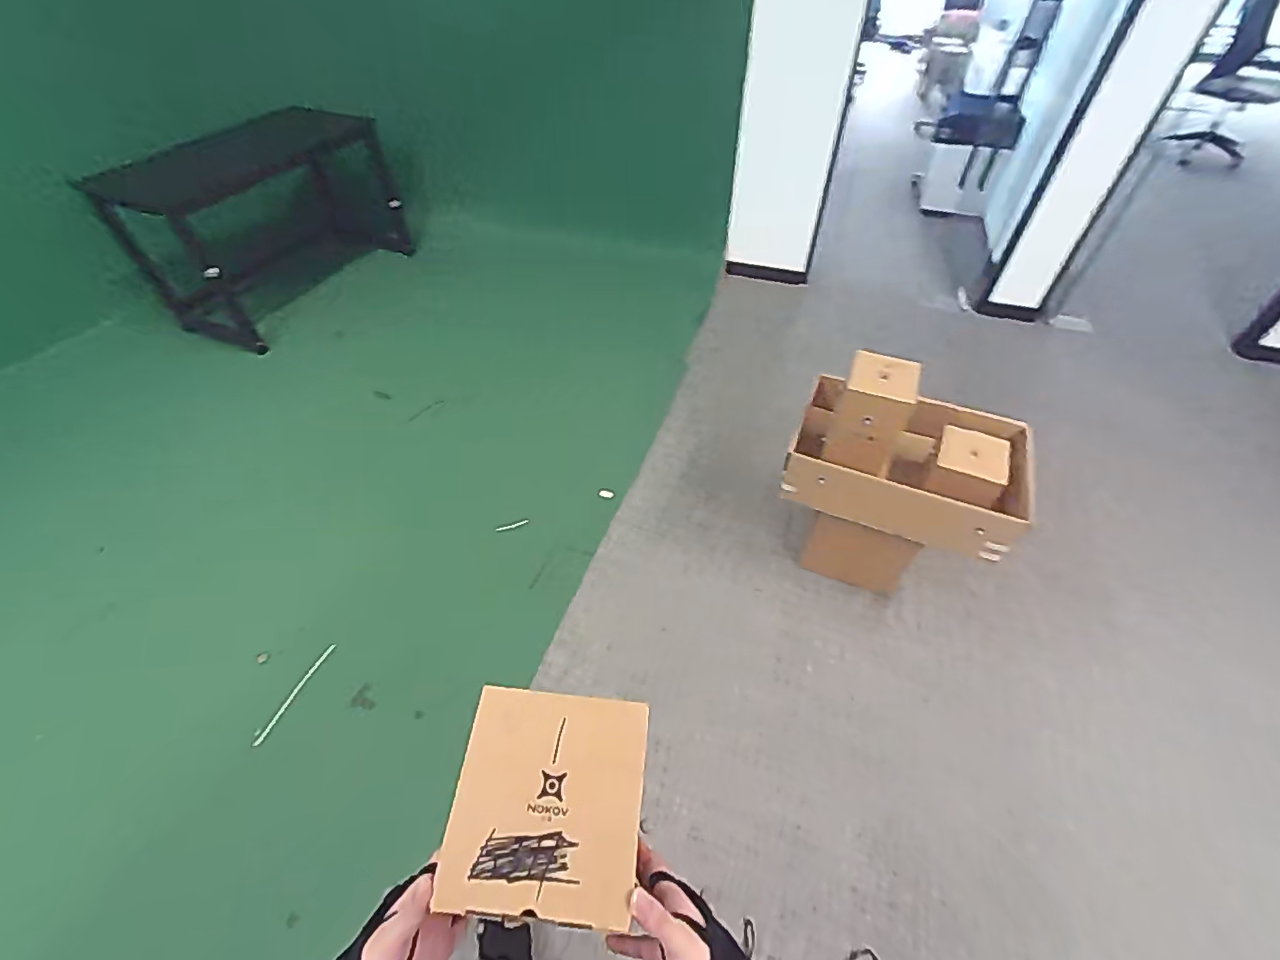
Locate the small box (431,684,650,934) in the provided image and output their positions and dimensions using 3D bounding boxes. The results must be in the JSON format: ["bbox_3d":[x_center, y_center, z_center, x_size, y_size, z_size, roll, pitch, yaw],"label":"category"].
[{"bbox_3d":[-0.082,0.326,0.546,0.168,0.176,0.179,7,55,2],"label":"small box"}]

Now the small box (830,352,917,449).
[{"bbox_3d":[0.625,-0.212,1.458,0.168,0.176,0.179,18,52,15],"label":"small box"}]
